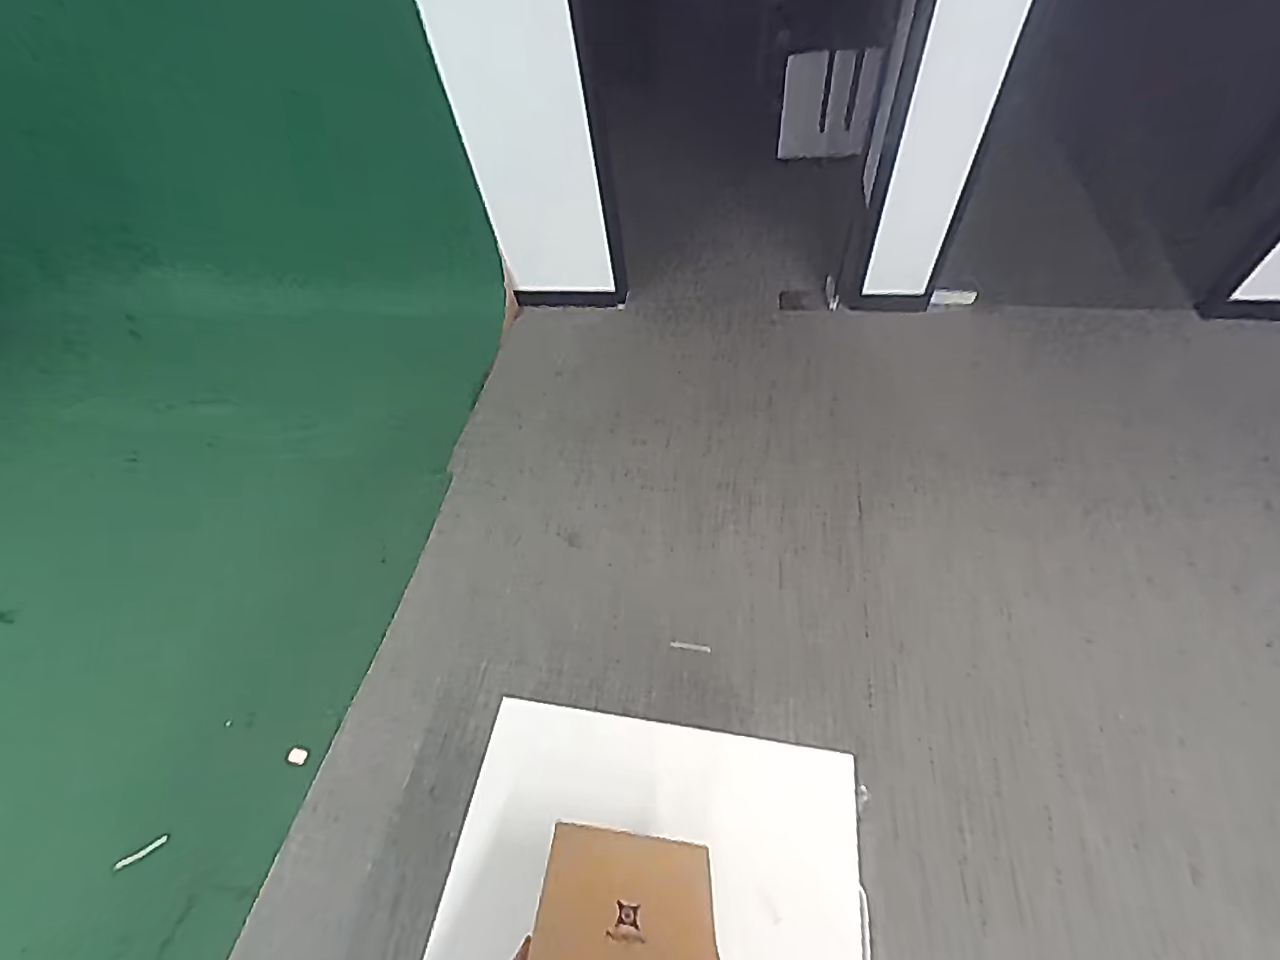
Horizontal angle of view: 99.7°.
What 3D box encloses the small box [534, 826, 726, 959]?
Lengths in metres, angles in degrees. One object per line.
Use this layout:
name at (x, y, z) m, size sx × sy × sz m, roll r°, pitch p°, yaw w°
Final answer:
small box at (-0.019, 0.473, 0.502) m, size 0.168 × 0.176 × 0.179 m, roll 9°, pitch 15°, yaw -1°
